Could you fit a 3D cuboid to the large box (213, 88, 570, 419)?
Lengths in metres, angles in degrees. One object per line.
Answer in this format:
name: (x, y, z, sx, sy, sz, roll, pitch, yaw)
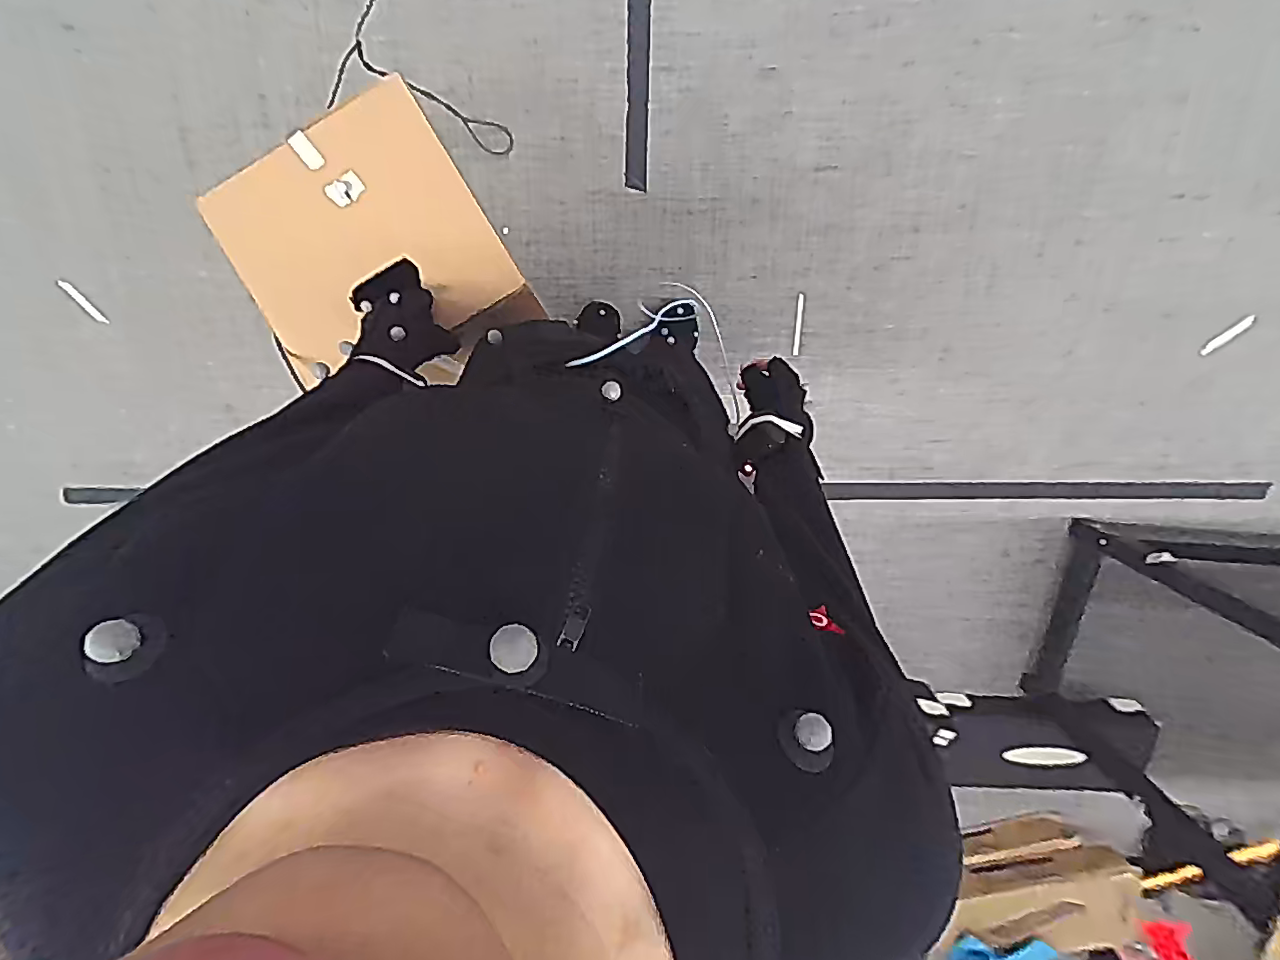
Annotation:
large box: (-0.354, -0.317, 0.896, 0.320, 0.408, 0.320, -31, 92, 3)
